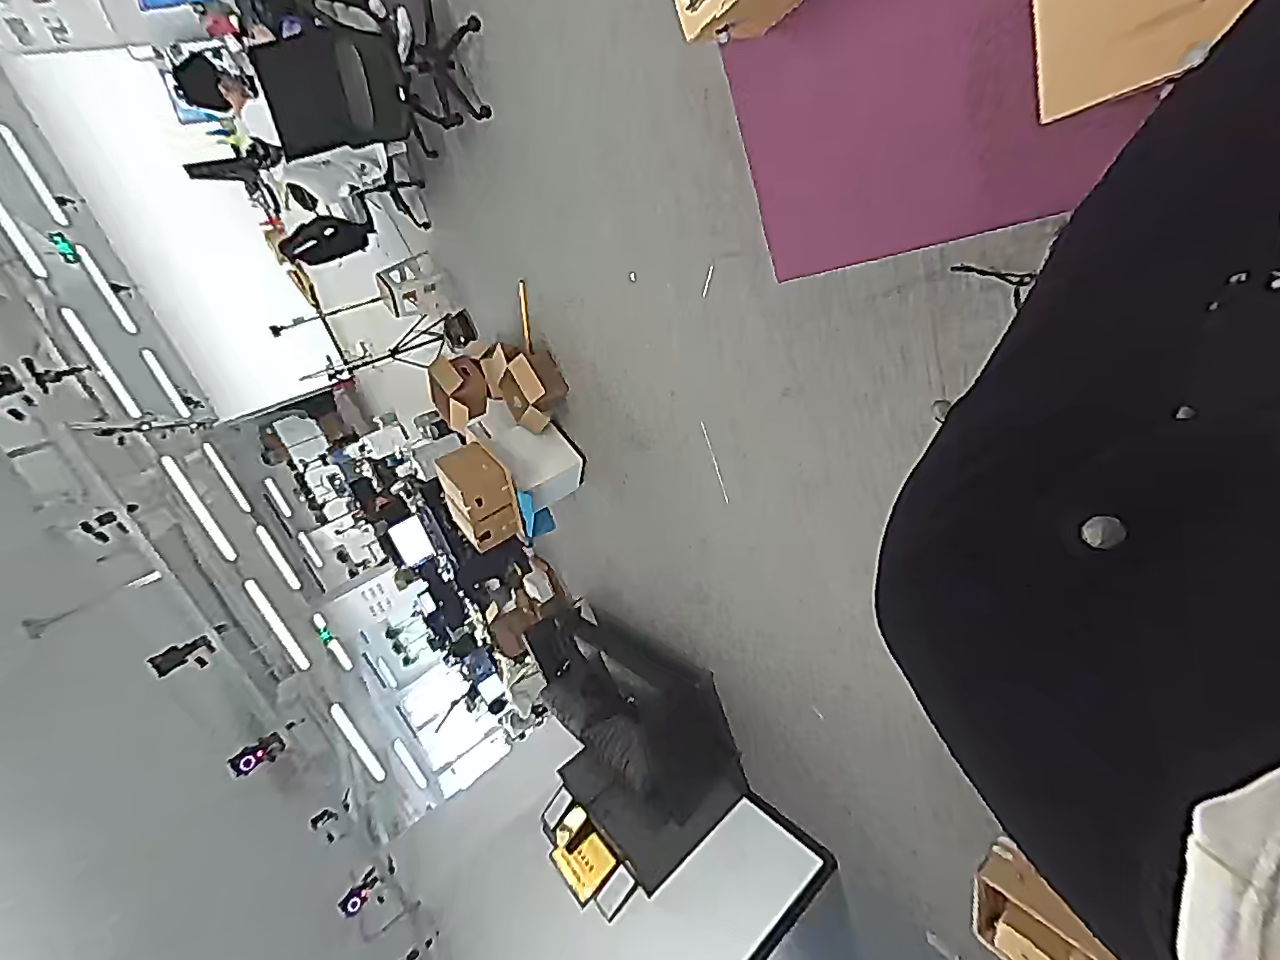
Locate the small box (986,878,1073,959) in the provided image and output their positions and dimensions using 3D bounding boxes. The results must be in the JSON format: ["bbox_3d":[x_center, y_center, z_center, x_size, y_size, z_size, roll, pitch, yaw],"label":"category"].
[{"bbox_3d":[1.216,1.410,1.689,0.168,0.176,0.179,23,135,47],"label":"small box"}]

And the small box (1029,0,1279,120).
[{"bbox_3d":[0.467,-0.449,0.470,0.168,0.176,0.179,12,126,55],"label":"small box"}]
